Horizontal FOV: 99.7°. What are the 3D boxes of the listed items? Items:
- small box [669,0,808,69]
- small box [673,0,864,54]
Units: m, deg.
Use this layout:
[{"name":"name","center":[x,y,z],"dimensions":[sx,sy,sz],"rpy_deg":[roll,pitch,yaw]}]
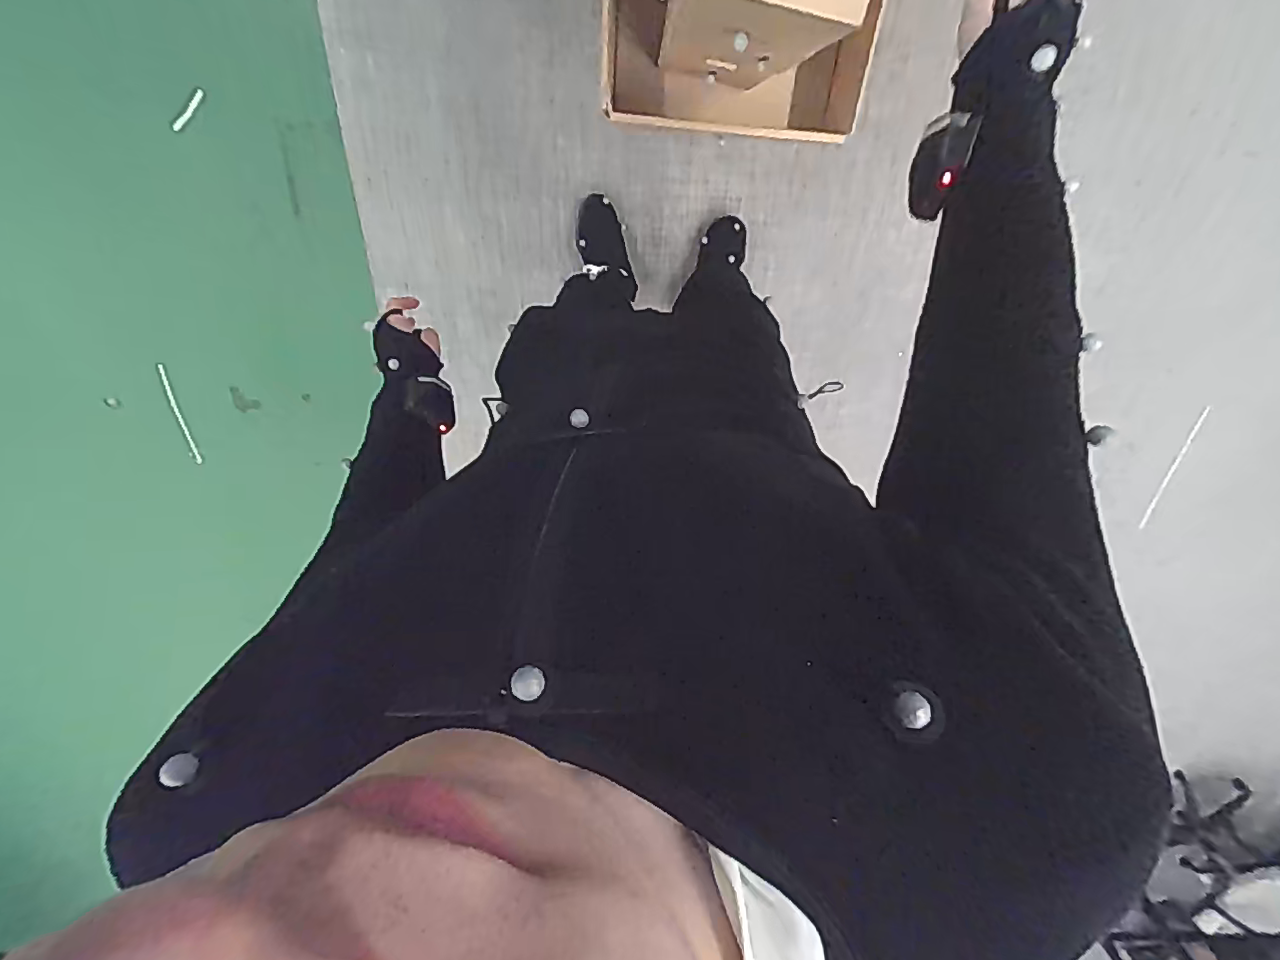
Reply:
[{"name":"small box","center":[0.134,-0.629,0.656],"dimensions":[0.168,0.176,0.179],"rpy_deg":[8,119,-8]},{"name":"small box","center":[0.132,-0.544,0.515],"dimensions":[0.168,0.176,0.179],"rpy_deg":[8,120,-8]}]
